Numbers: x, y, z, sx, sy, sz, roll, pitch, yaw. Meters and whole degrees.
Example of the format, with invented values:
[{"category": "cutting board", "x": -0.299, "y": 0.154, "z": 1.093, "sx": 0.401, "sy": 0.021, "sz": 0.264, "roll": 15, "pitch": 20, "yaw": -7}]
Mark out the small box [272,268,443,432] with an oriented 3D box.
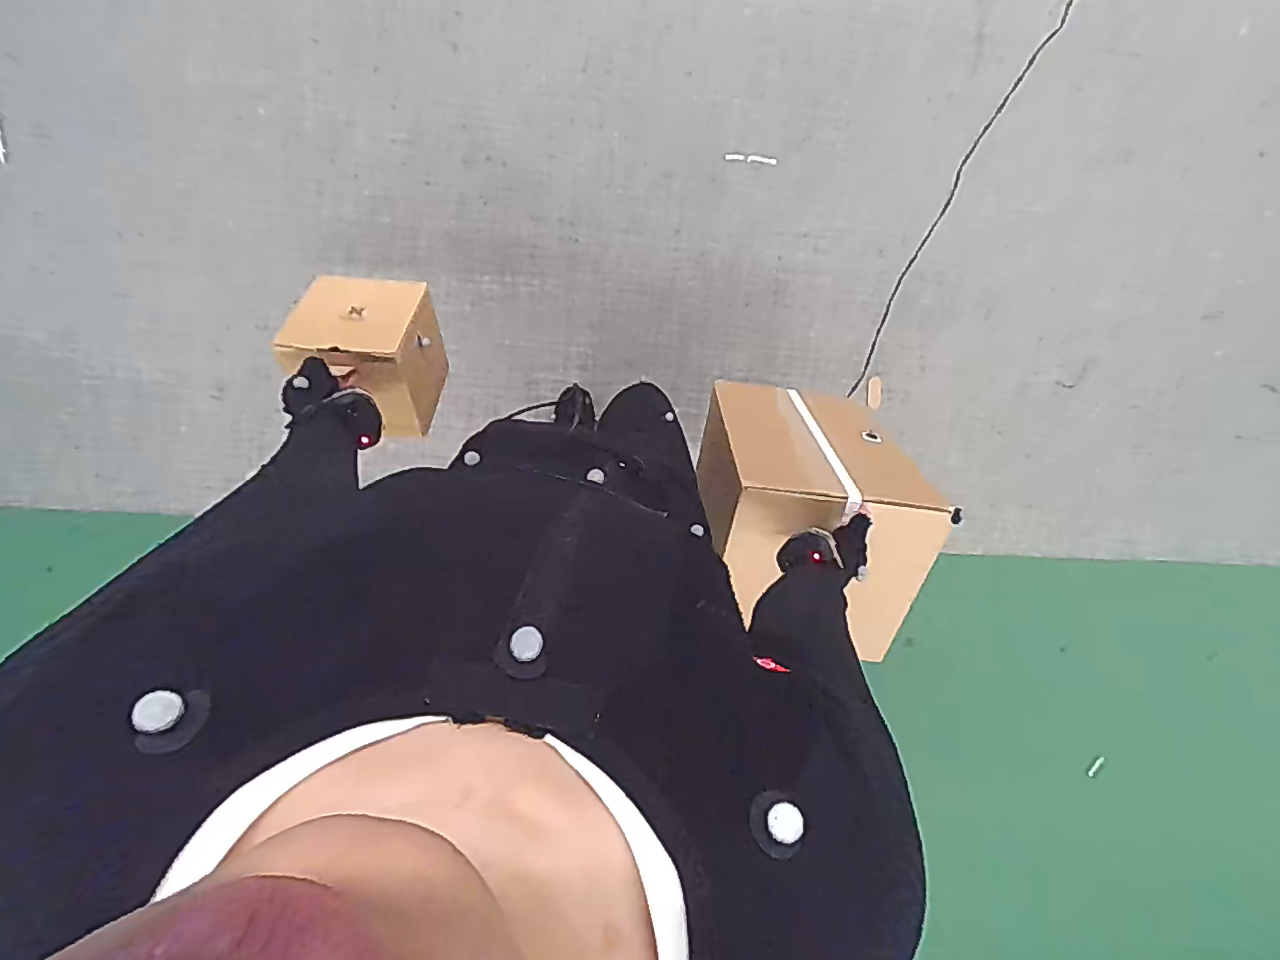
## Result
[{"category": "small box", "x": -0.415, "y": -0.197, "z": 0.835, "sx": 0.168, "sy": 0.179, "sz": 0.176, "roll": 3, "pitch": 144, "yaw": -4}]
